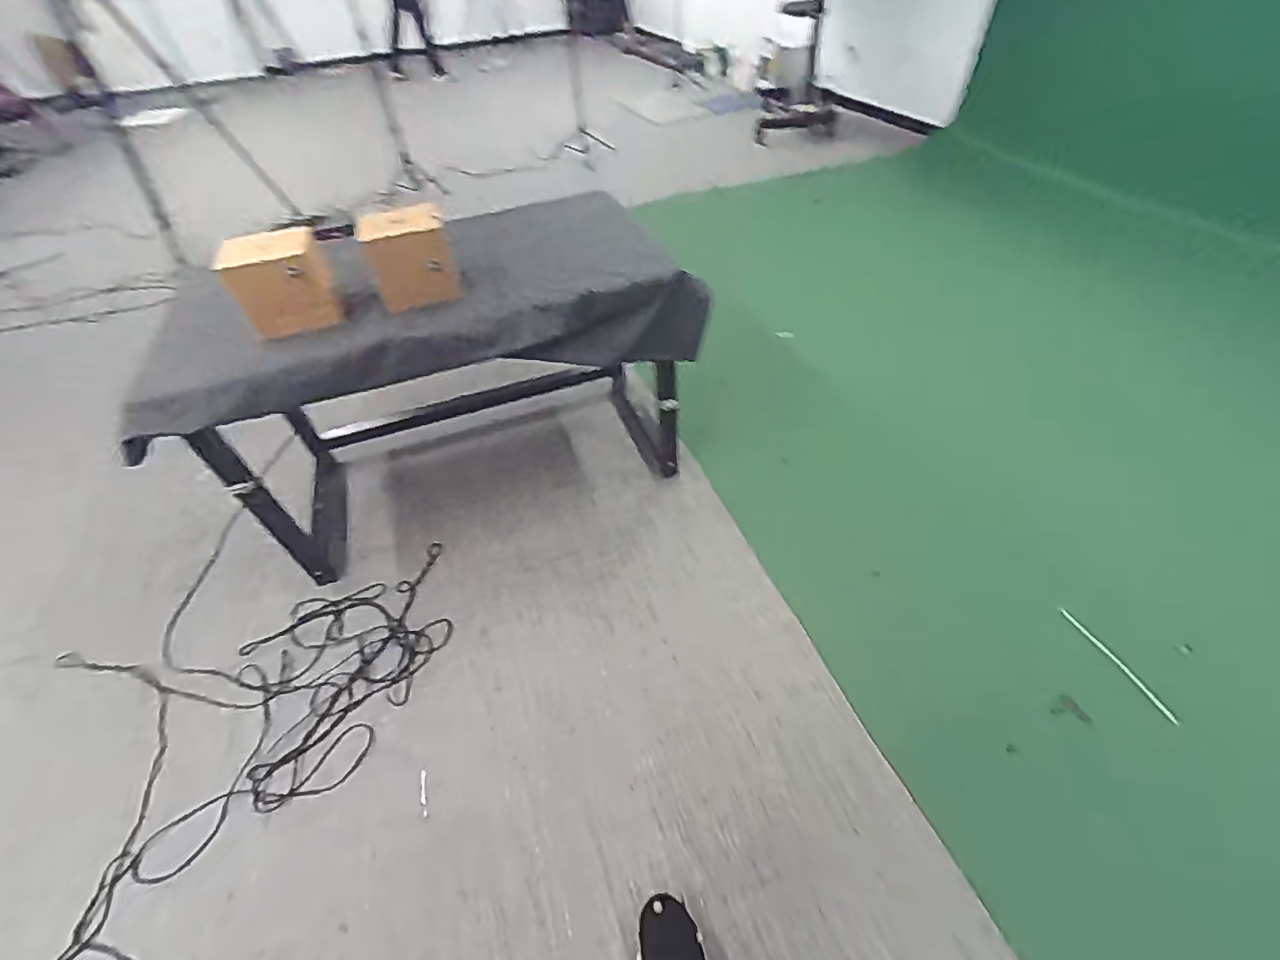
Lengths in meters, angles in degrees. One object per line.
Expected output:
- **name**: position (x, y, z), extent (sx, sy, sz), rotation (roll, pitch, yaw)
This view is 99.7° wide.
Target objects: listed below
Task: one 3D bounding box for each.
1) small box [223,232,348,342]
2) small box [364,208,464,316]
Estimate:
- **small box**: position (-0.790, -0.434, 1.225), extent (0.179, 0.176, 0.168), rotation (-18, 47, -12)
- **small box**: position (-0.526, -0.513, 1.276), extent (0.179, 0.176, 0.168), rotation (-18, 46, -10)
